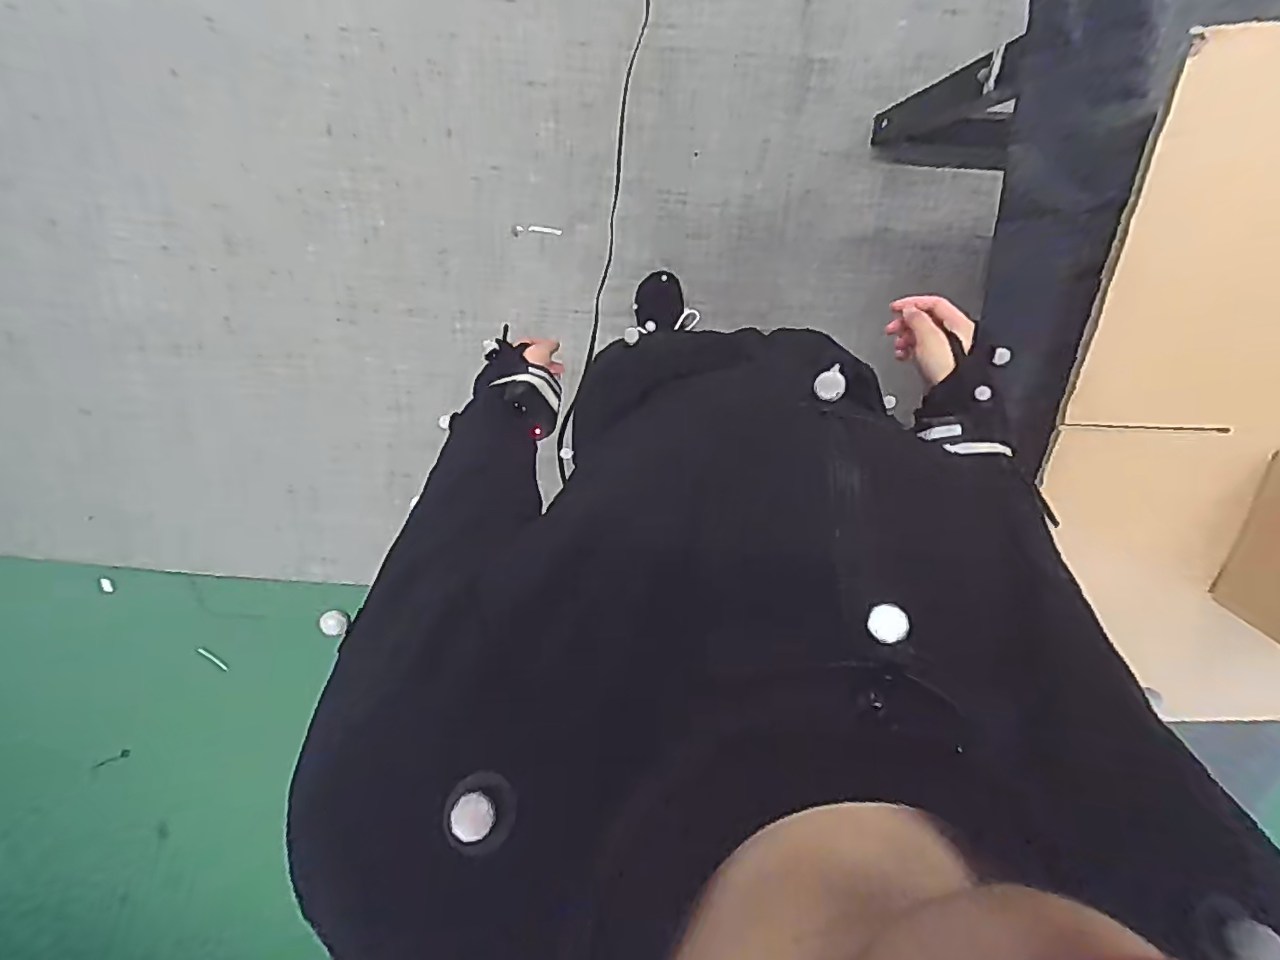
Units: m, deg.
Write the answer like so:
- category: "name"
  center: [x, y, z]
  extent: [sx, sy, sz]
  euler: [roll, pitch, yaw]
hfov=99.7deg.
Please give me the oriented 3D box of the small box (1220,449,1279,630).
- category: "small box"
  center: [0.674, 0.070, 0.460]
  extent: [0.168, 0.176, 0.179]
  euler: [-6, 115, 0]
